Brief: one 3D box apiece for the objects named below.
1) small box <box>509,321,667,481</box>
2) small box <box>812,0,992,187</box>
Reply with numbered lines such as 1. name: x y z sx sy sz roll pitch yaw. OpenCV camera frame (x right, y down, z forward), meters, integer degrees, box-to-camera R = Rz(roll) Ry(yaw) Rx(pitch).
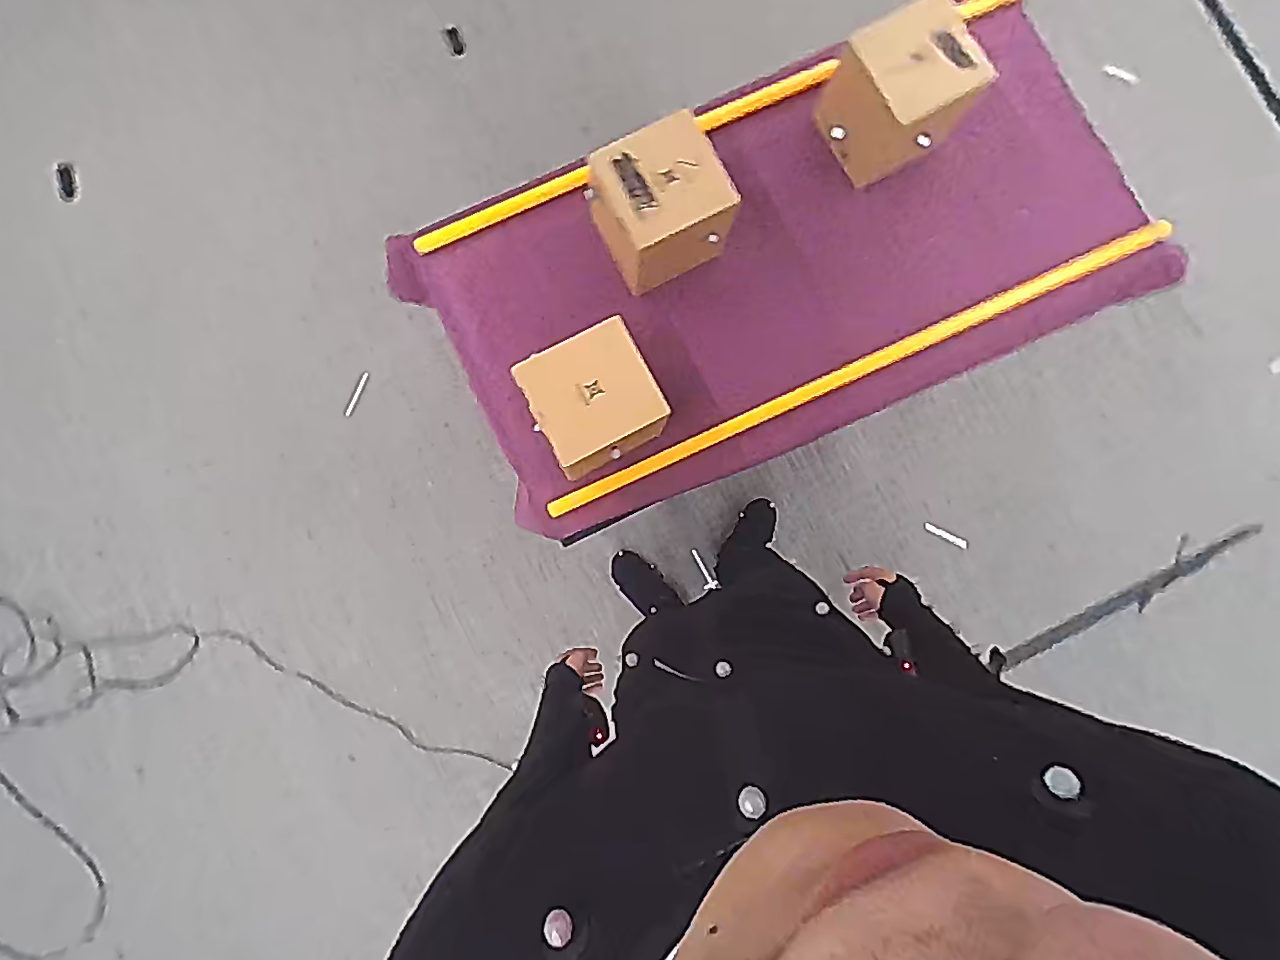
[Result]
1. small box: -0.077 -0.112 0.842 0.179 0.176 0.168 -29 86 -5
2. small box: 0.419 -0.636 0.897 0.179 0.176 0.168 -30 87 -2
